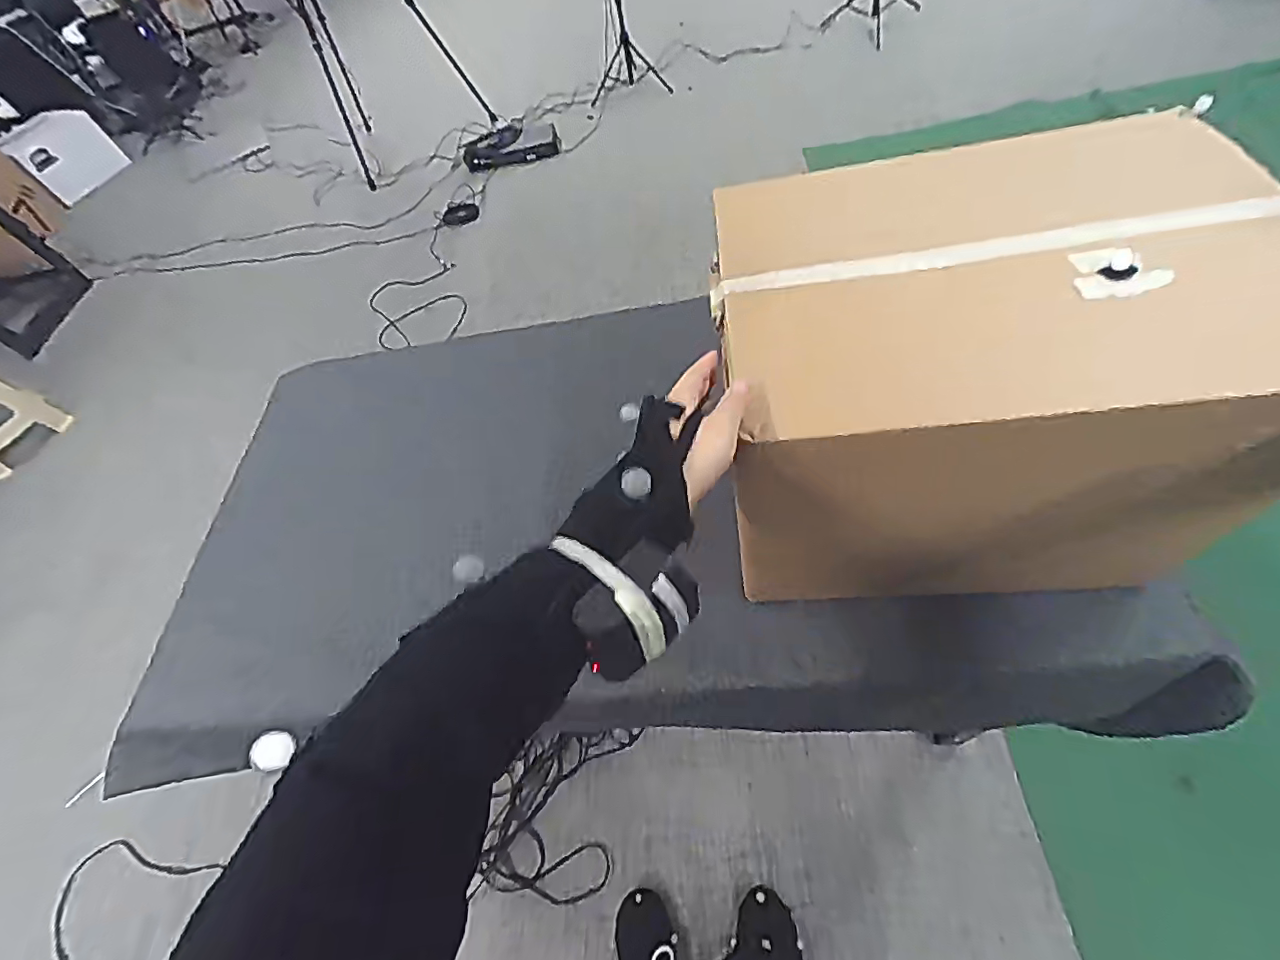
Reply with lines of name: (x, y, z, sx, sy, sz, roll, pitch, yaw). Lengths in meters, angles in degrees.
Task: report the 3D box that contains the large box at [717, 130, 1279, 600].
large box: (0.294, -0.086, 0.544, 0.408, 0.320, 0.320, -4, 57, 9)
